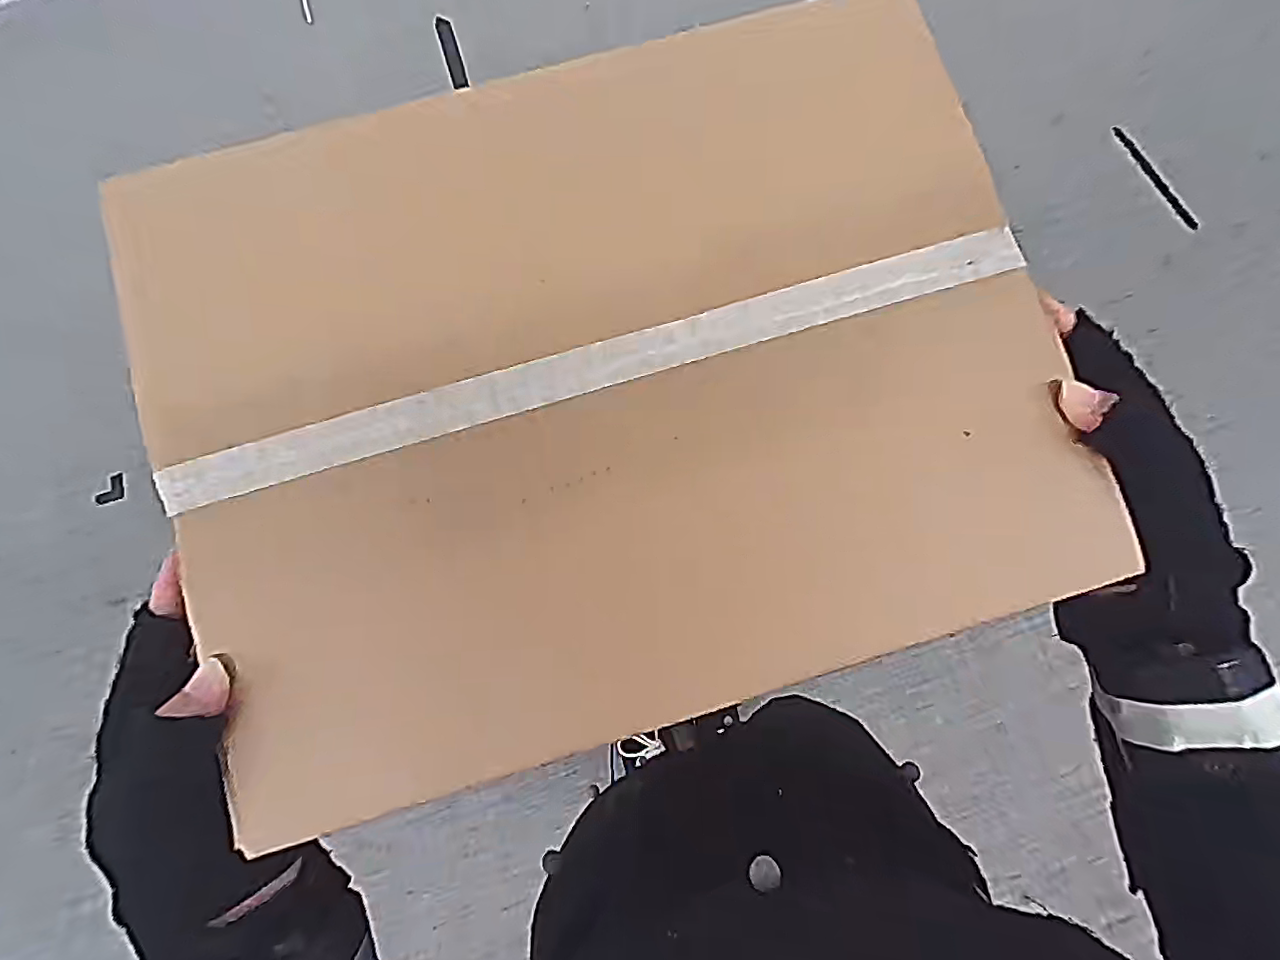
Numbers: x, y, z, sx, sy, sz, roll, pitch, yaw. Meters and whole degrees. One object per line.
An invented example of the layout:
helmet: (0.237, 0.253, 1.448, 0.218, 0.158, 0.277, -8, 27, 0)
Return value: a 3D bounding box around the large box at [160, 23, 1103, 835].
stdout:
large box: (-0.014, -0.025, 0.412, 0.408, 0.320, 0.320, -17, 84, -3)
